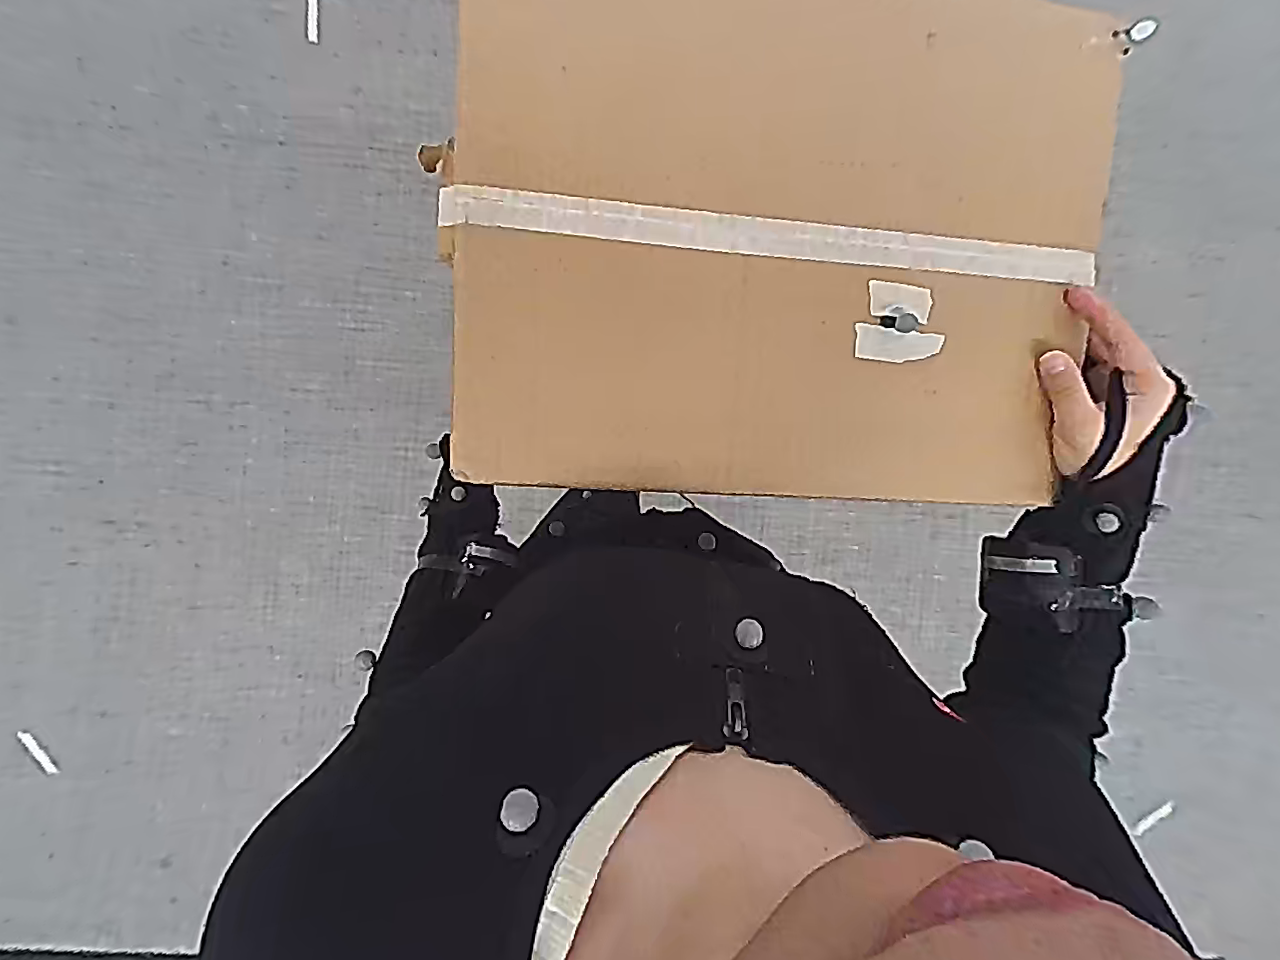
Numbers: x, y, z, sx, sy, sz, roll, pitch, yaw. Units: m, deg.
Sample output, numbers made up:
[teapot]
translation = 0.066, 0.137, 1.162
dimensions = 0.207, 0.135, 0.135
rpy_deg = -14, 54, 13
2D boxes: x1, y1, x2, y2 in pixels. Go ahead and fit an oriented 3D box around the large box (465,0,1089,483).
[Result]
[large box]
translation = 0.072, -0.170, 0.487
dimensions = 0.408, 0.320, 0.320
rpy_deg = 2, 97, -9
